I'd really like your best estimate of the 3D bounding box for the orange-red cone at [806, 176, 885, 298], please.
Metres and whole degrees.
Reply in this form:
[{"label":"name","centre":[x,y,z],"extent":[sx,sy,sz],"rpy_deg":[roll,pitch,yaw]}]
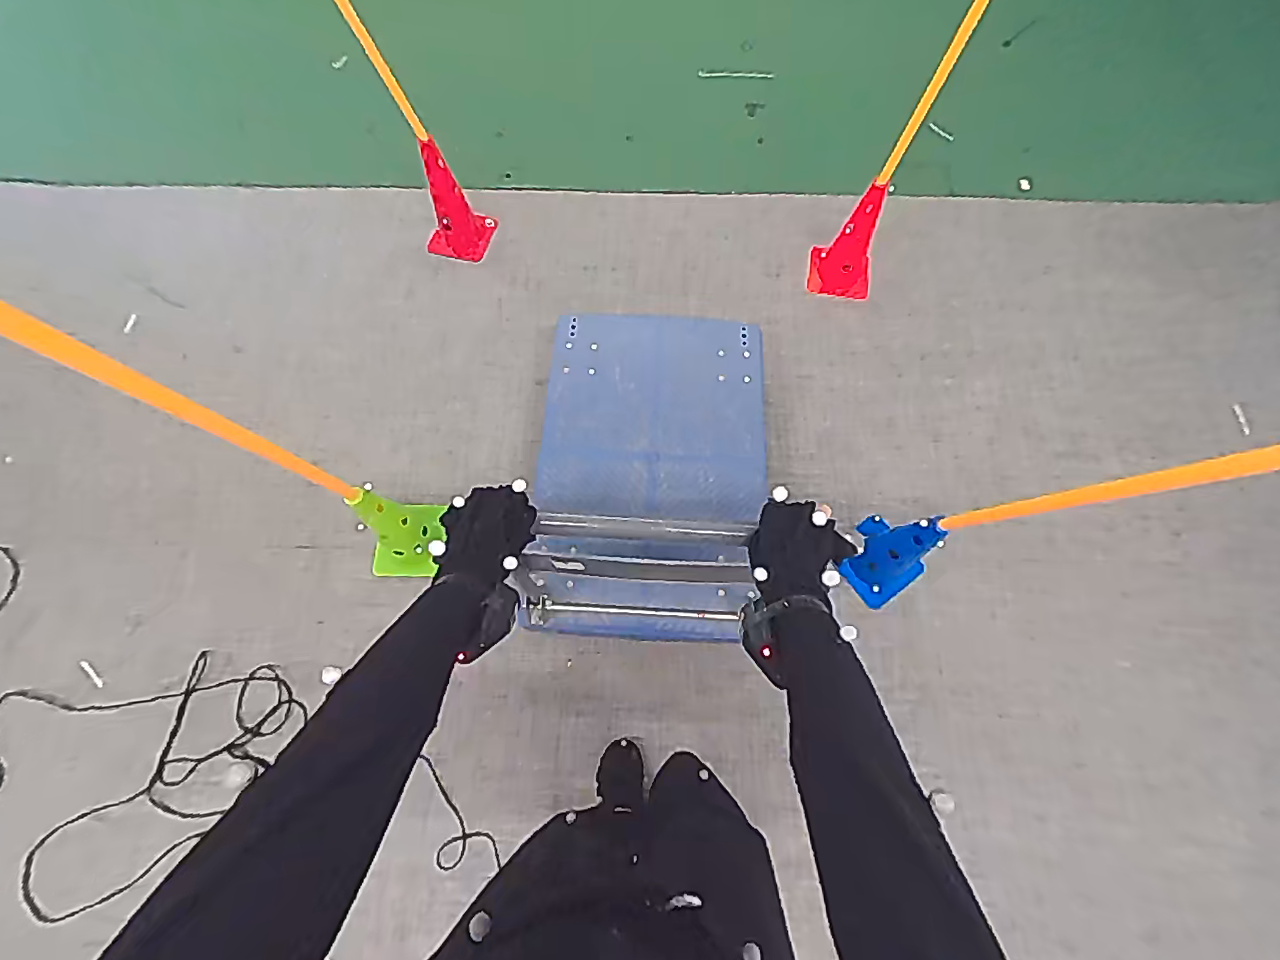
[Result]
[{"label":"orange-red cone","centre":[0.660,-0.757,1.645],"extent":[0.198,0.360,0.199],"rpy_deg":[11,70,5]}]
